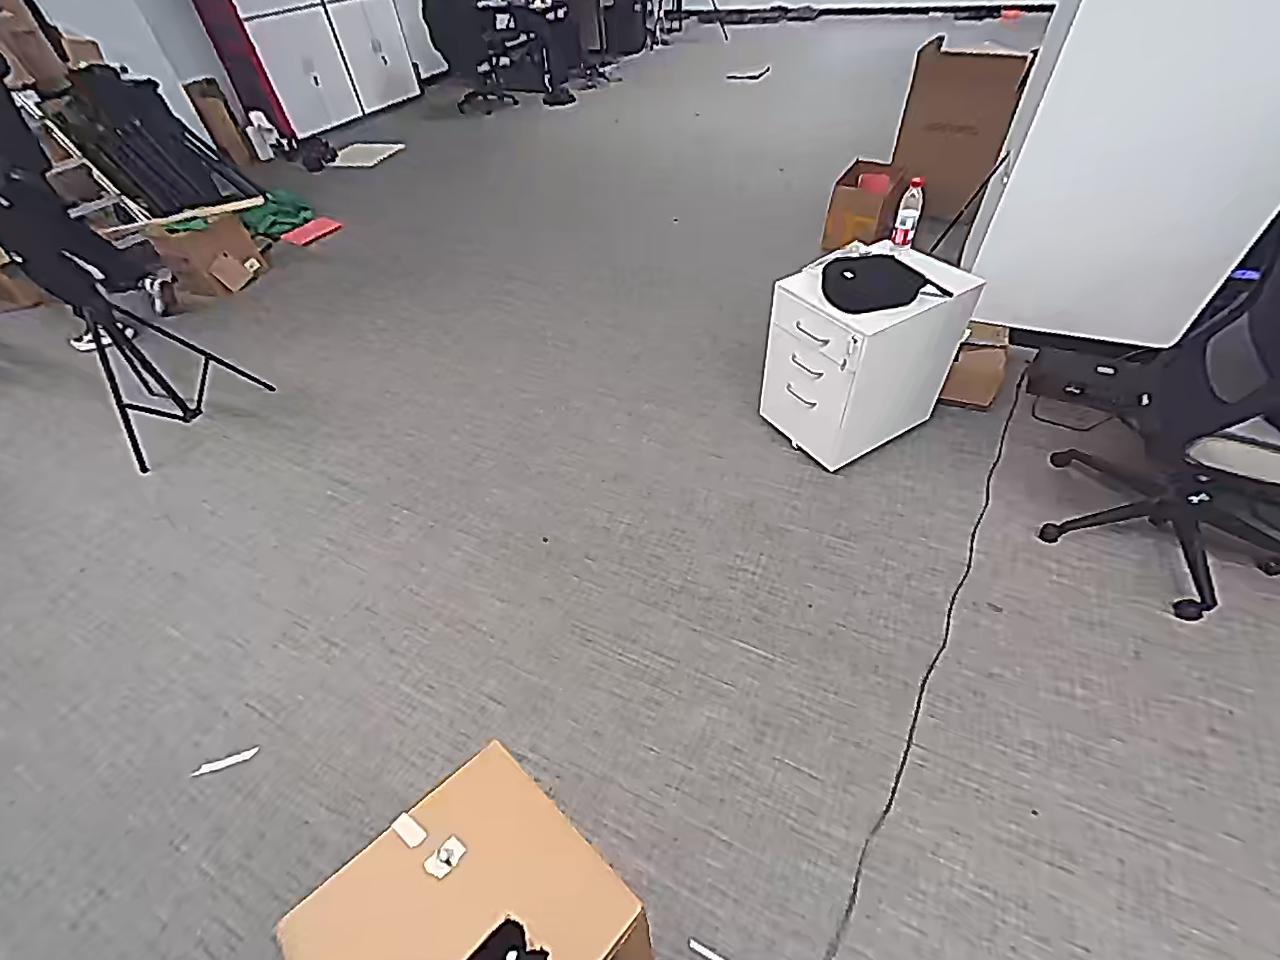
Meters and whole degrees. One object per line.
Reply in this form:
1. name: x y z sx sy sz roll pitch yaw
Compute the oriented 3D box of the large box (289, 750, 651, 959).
1. large box: -0.197 0.675 0.747 0.320 0.408 0.320 -32 42 -33
